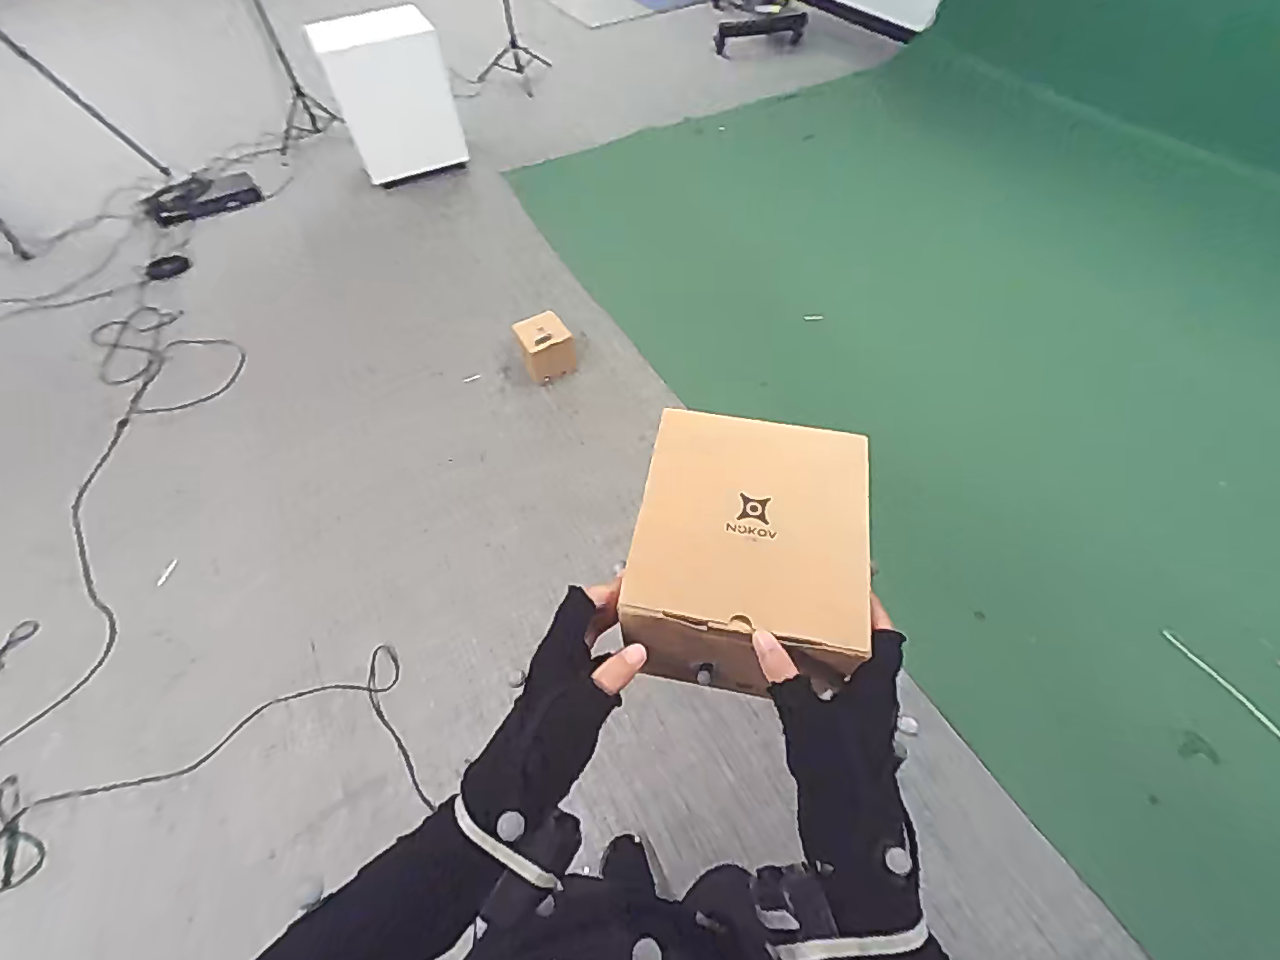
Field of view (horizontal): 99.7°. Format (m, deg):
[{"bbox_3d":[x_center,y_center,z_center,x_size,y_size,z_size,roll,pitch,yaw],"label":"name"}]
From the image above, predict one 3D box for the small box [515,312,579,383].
[{"bbox_3d":[-0.338,-0.480,1.997,0.168,0.176,0.179,-27,59,-16],"label":"small box"}]
